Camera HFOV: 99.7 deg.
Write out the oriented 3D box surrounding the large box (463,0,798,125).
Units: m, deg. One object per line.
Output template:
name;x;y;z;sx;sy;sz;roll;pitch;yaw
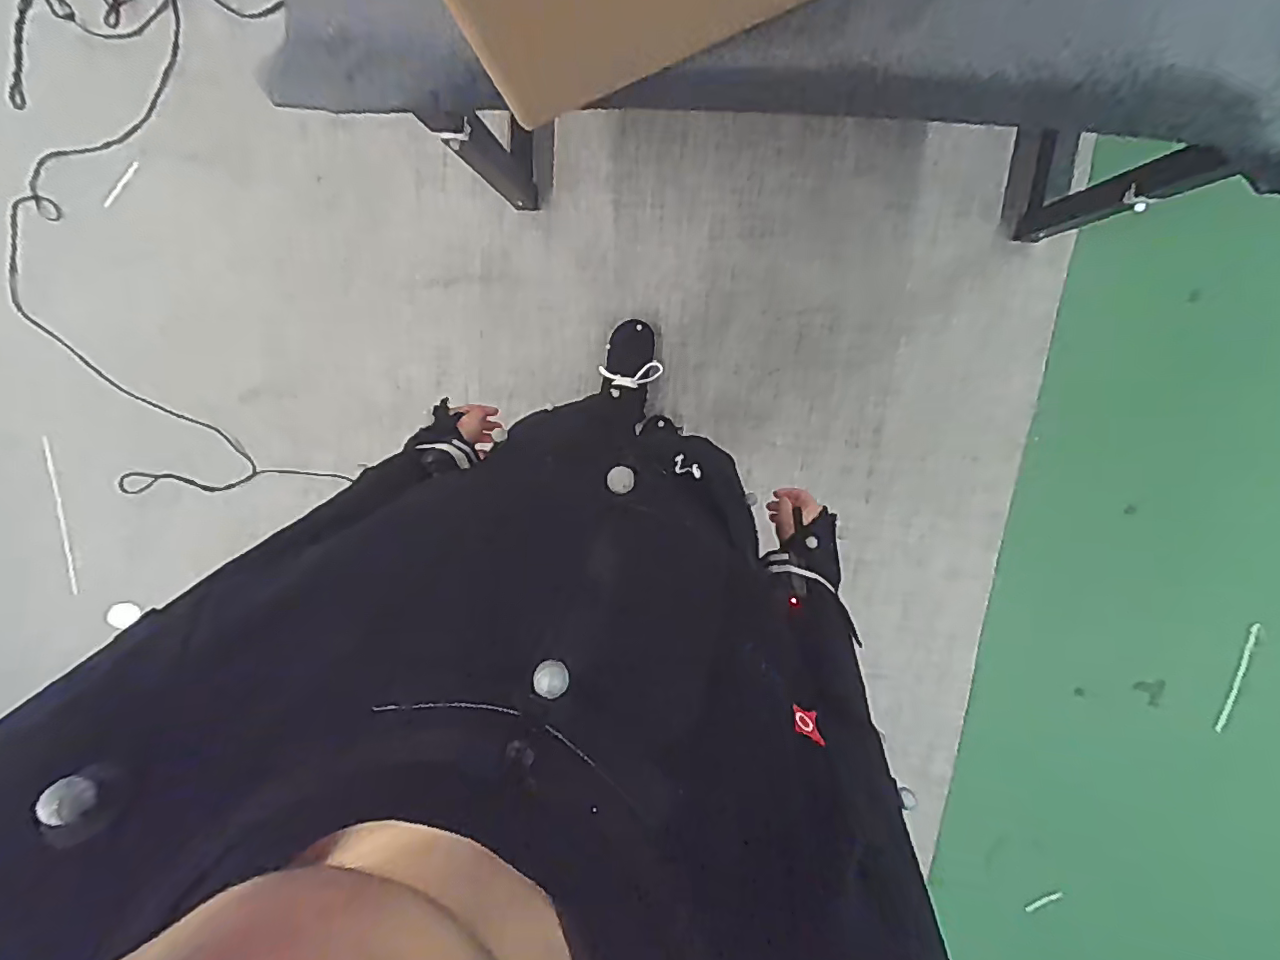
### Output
large box;0.007;-0.536;0.359;0.408;0.320;0.320;-21;101;5
